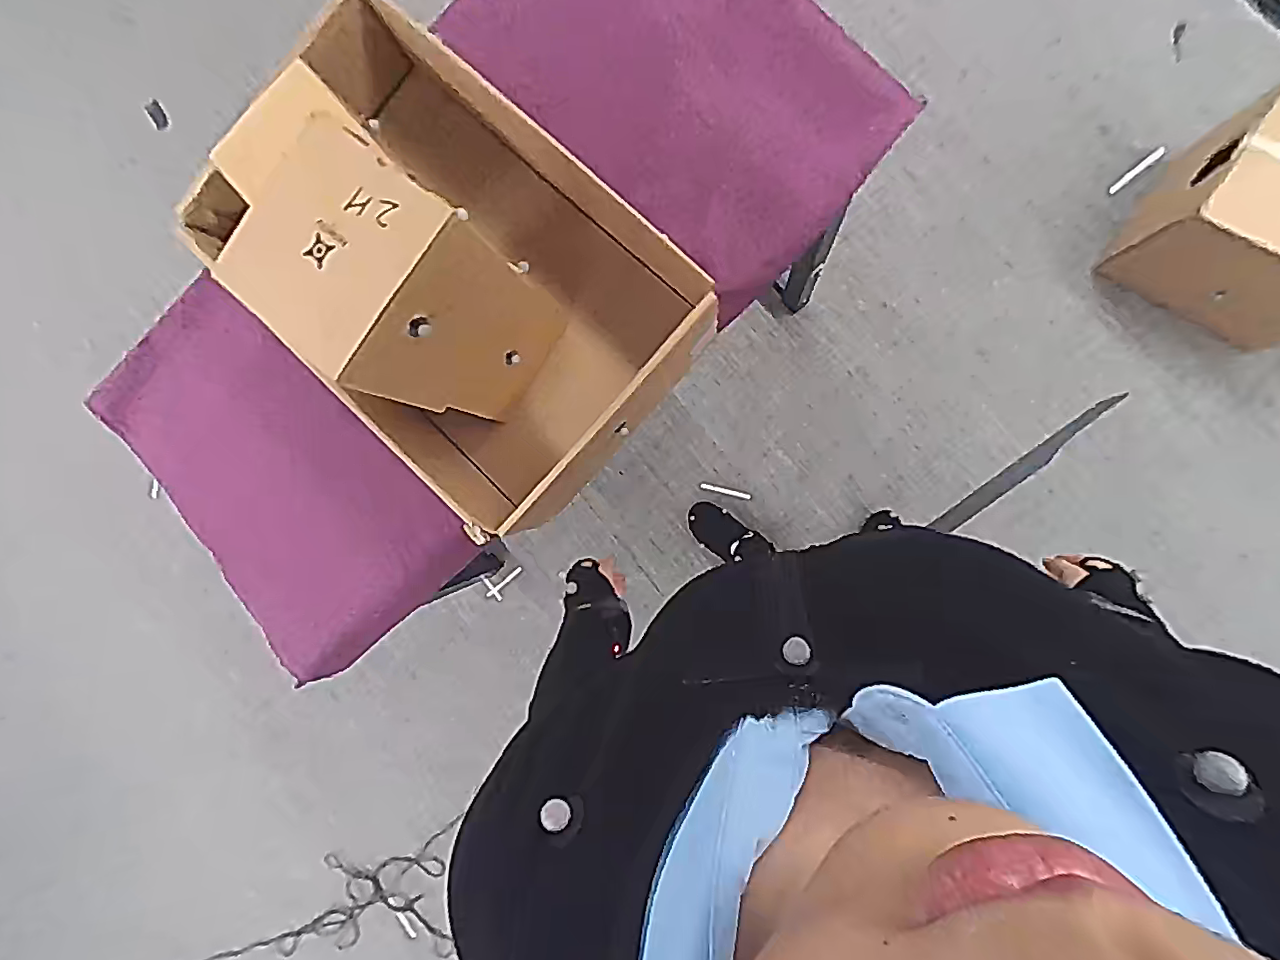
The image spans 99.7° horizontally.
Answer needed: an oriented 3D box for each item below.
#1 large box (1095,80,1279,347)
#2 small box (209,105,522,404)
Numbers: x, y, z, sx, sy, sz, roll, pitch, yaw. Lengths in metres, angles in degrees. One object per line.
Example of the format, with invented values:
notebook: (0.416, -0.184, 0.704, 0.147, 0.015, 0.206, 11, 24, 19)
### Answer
large box: (1.335, -0.536, 1.146, 0.408, 0.320, 0.320, 32, 95, 9)
small box: (-0.246, -0.195, 0.526, 0.168, 0.176, 0.179, 39, 95, 9)
